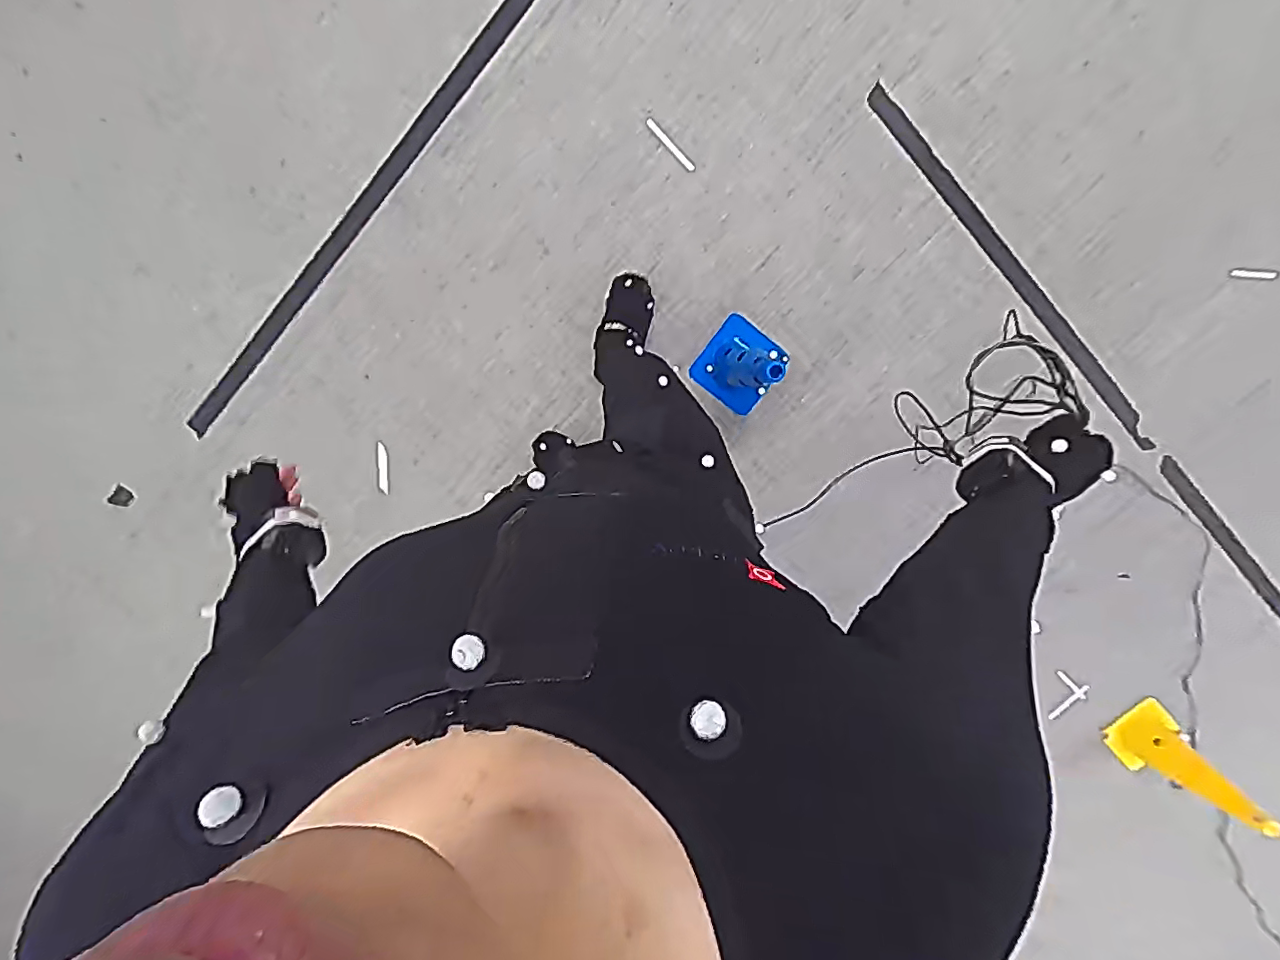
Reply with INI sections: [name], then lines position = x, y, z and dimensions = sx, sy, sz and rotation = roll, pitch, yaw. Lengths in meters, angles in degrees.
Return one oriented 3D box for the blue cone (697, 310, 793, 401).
[blue cone]
position = 0.269, -0.278, 1.232
dimensions = 0.193, 0.380, 0.192
rotation = 37, 100, -10
